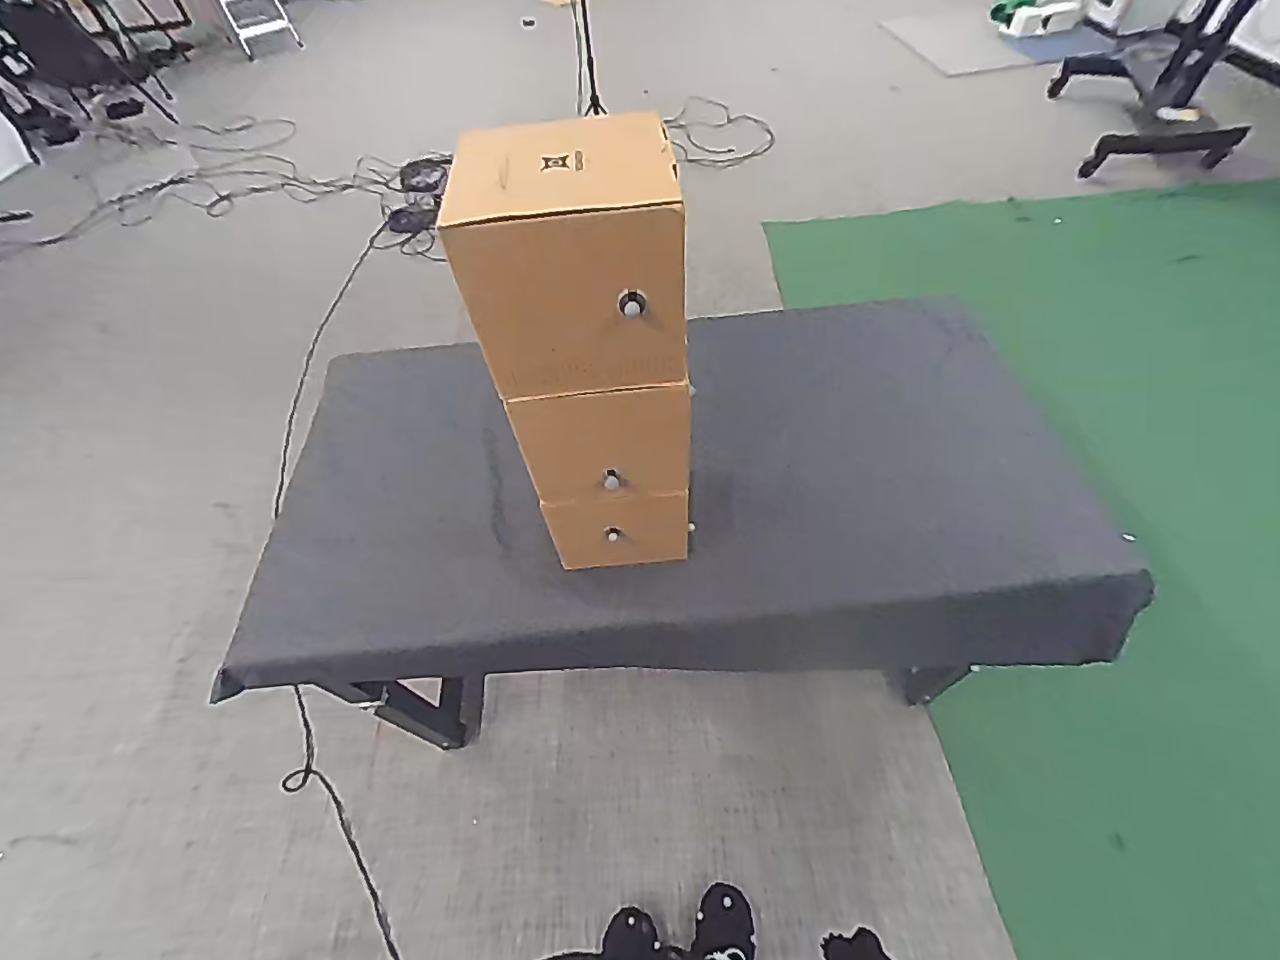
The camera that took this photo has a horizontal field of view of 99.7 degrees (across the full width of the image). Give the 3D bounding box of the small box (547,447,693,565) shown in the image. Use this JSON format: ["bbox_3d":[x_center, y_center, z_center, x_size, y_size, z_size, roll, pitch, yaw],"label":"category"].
[{"bbox_3d":[-0.029,0.002,0.744,0.179,0.176,0.168,-7,55,-2],"label":"small box"}]

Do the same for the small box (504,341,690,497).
[{"bbox_3d":[-0.041,-0.096,0.614,0.179,0.176,0.168,-5,54,1],"label":"small box"}]

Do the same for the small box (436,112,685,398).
[{"bbox_3d":[-0.056,-0.193,0.484,0.179,0.176,0.168,-7,53,1],"label":"small box"}]
